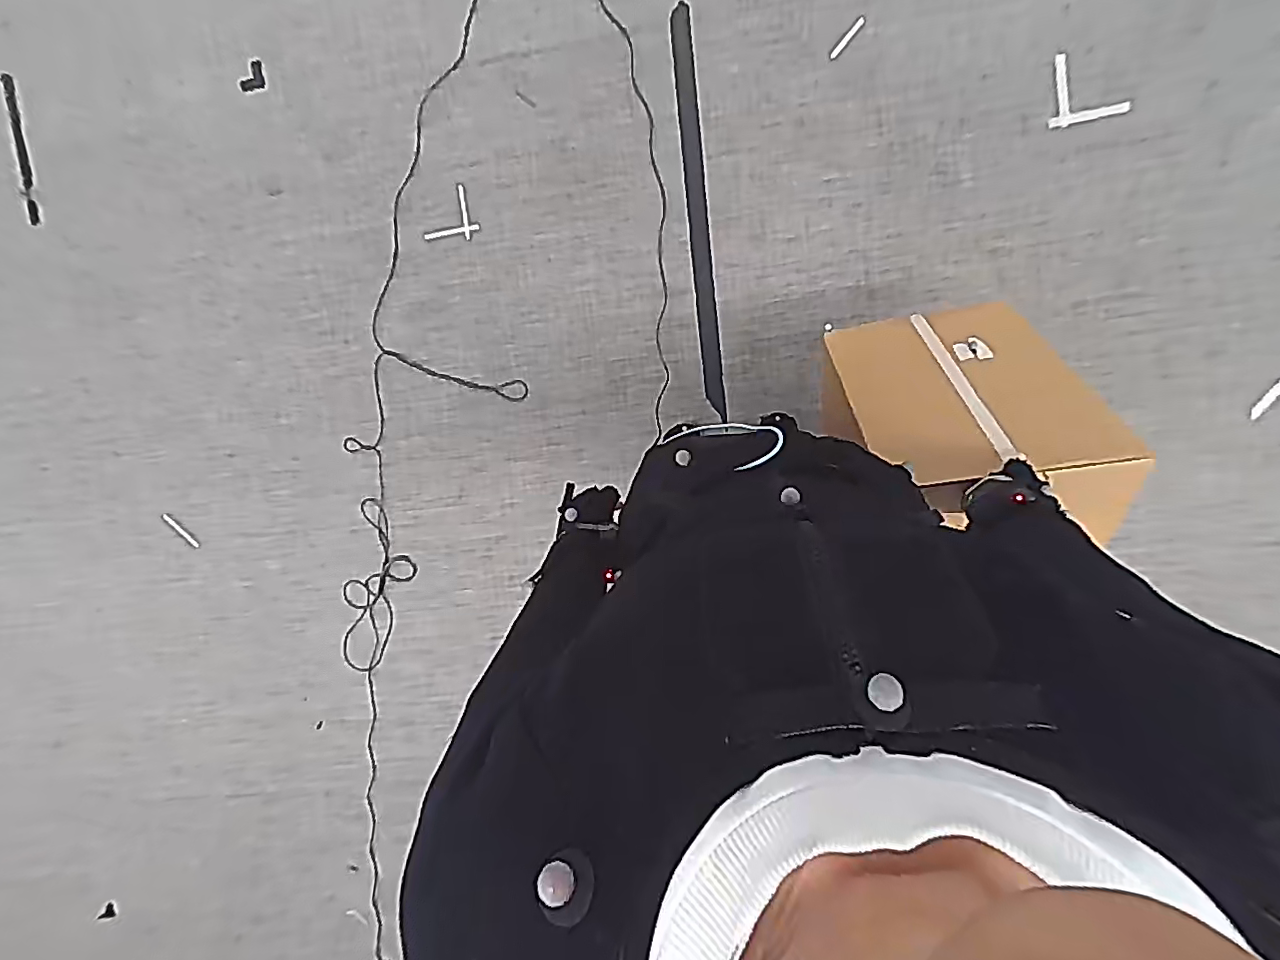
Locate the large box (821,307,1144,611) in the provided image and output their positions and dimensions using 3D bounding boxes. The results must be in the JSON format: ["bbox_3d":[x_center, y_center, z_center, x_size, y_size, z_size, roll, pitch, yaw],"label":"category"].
[{"bbox_3d":[0.515,-0.039,0.933,0.320,0.408,0.320,-8,133,9],"label":"large box"}]
